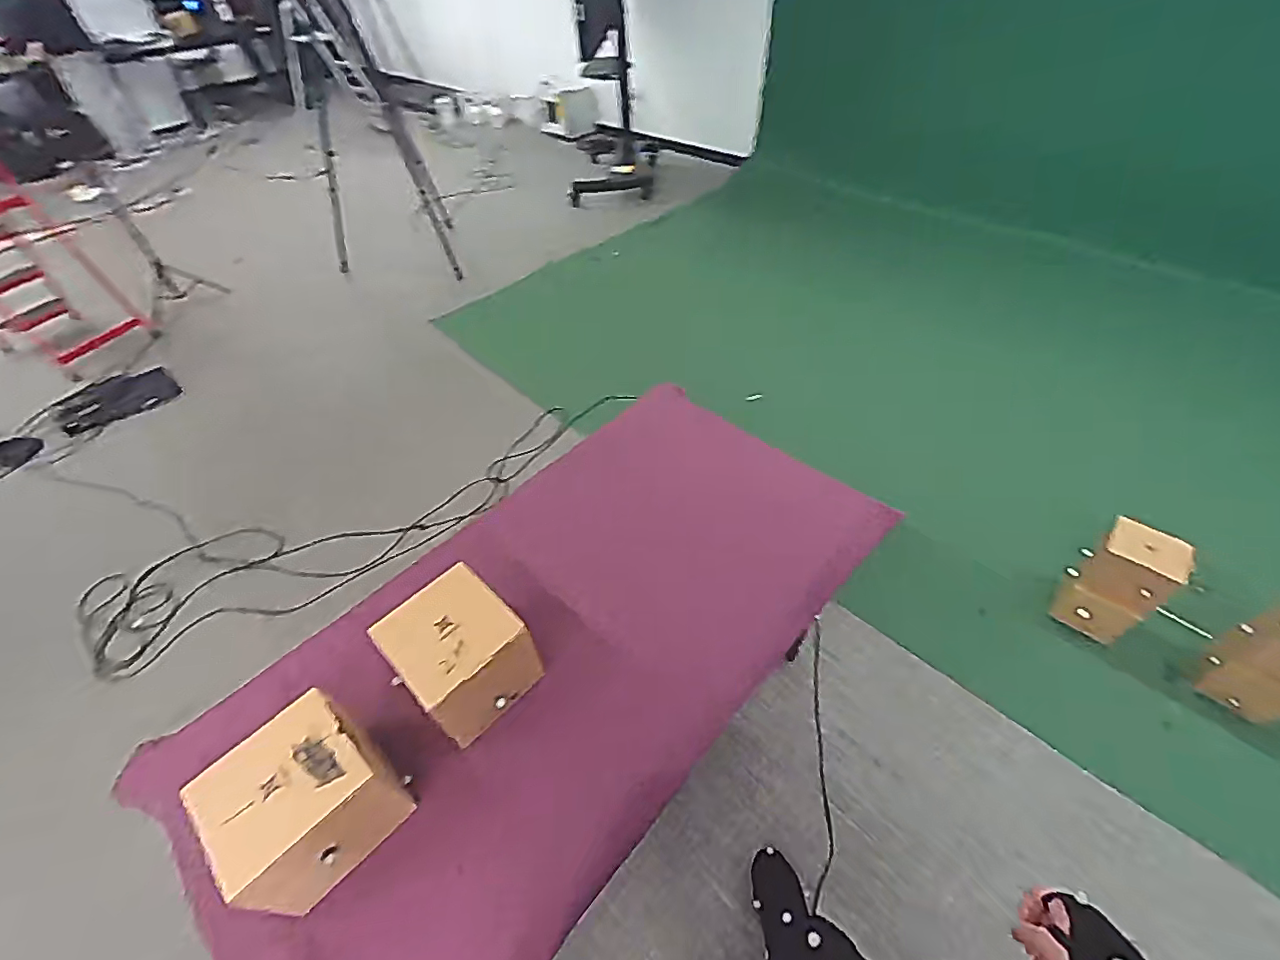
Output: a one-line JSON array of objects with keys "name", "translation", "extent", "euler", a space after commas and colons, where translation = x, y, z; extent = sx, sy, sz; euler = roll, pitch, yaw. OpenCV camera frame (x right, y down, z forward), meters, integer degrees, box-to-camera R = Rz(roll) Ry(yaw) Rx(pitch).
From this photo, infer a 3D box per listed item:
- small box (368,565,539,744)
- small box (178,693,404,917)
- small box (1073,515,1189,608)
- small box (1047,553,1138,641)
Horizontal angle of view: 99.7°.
[{"name": "small box", "translation": [-0.282, 0.274, 0.846], "extent": [0.179, 0.176, 0.168], "euler": [35, 58, 29]}, {"name": "small box", "translation": [-0.440, 0.427, 0.714], "extent": [0.168, 0.176, 0.179], "euler": [34, 58, 29]}, {"name": "small box", "translation": [1.400, 0.239, 1.548], "extent": [0.179, 0.176, 0.168], "euler": [31, 55, 29]}, {"name": "small box", "translation": [1.396, 0.357, 1.660], "extent": [0.168, 0.176, 0.179], "euler": [31, 55, 28]}]
